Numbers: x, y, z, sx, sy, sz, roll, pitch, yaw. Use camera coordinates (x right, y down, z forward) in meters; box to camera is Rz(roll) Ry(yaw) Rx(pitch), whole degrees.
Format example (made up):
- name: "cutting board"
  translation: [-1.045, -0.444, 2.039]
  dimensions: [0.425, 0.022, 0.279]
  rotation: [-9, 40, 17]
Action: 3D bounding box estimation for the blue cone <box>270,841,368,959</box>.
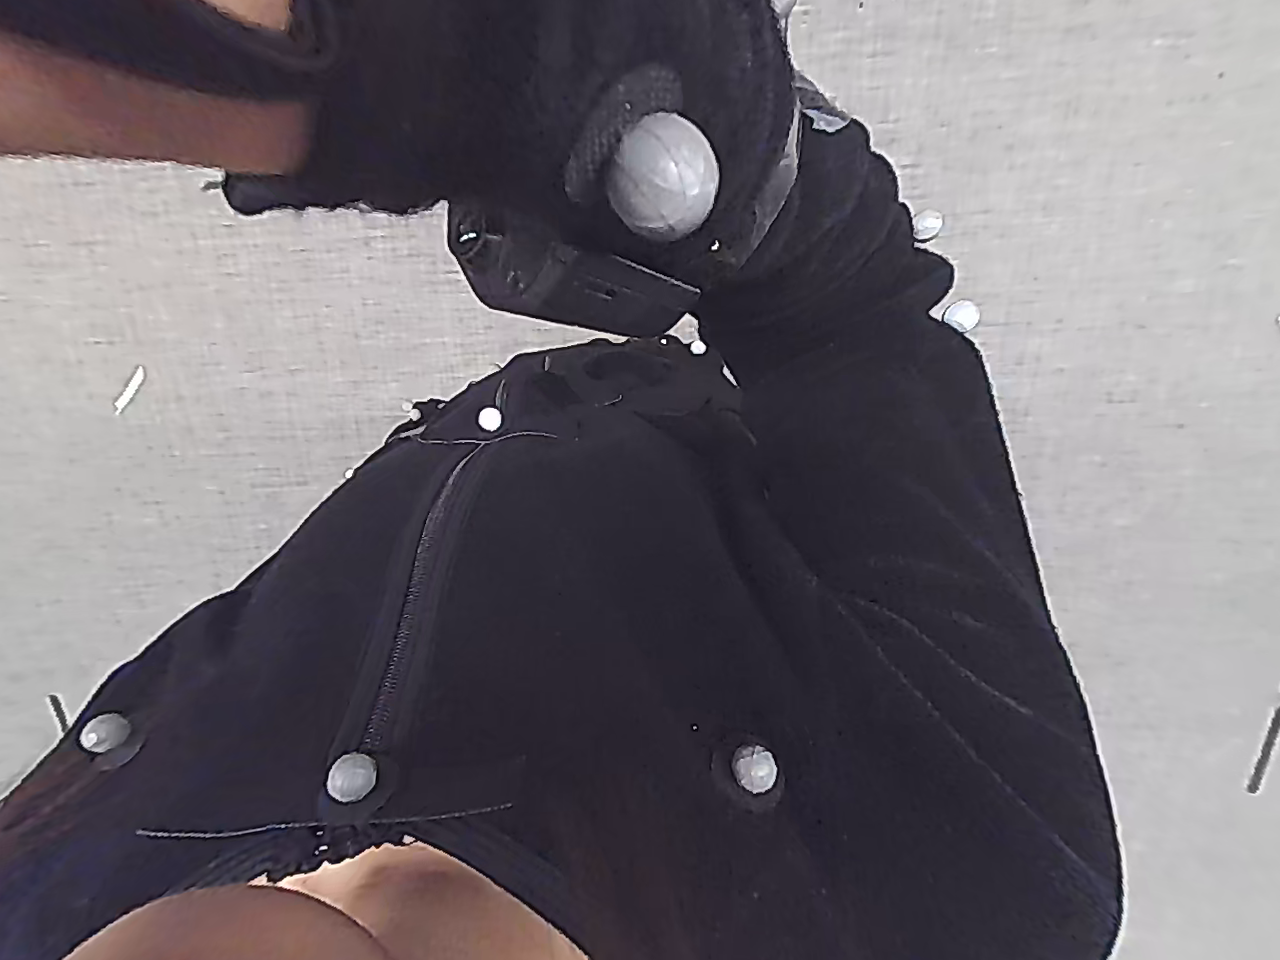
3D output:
- name: "blue cone"
  translation: [-1.035, 1.364, 1.694]
  dimensions: [0.193, 0.380, 0.192]
  rotation: [3, 105, 2]
